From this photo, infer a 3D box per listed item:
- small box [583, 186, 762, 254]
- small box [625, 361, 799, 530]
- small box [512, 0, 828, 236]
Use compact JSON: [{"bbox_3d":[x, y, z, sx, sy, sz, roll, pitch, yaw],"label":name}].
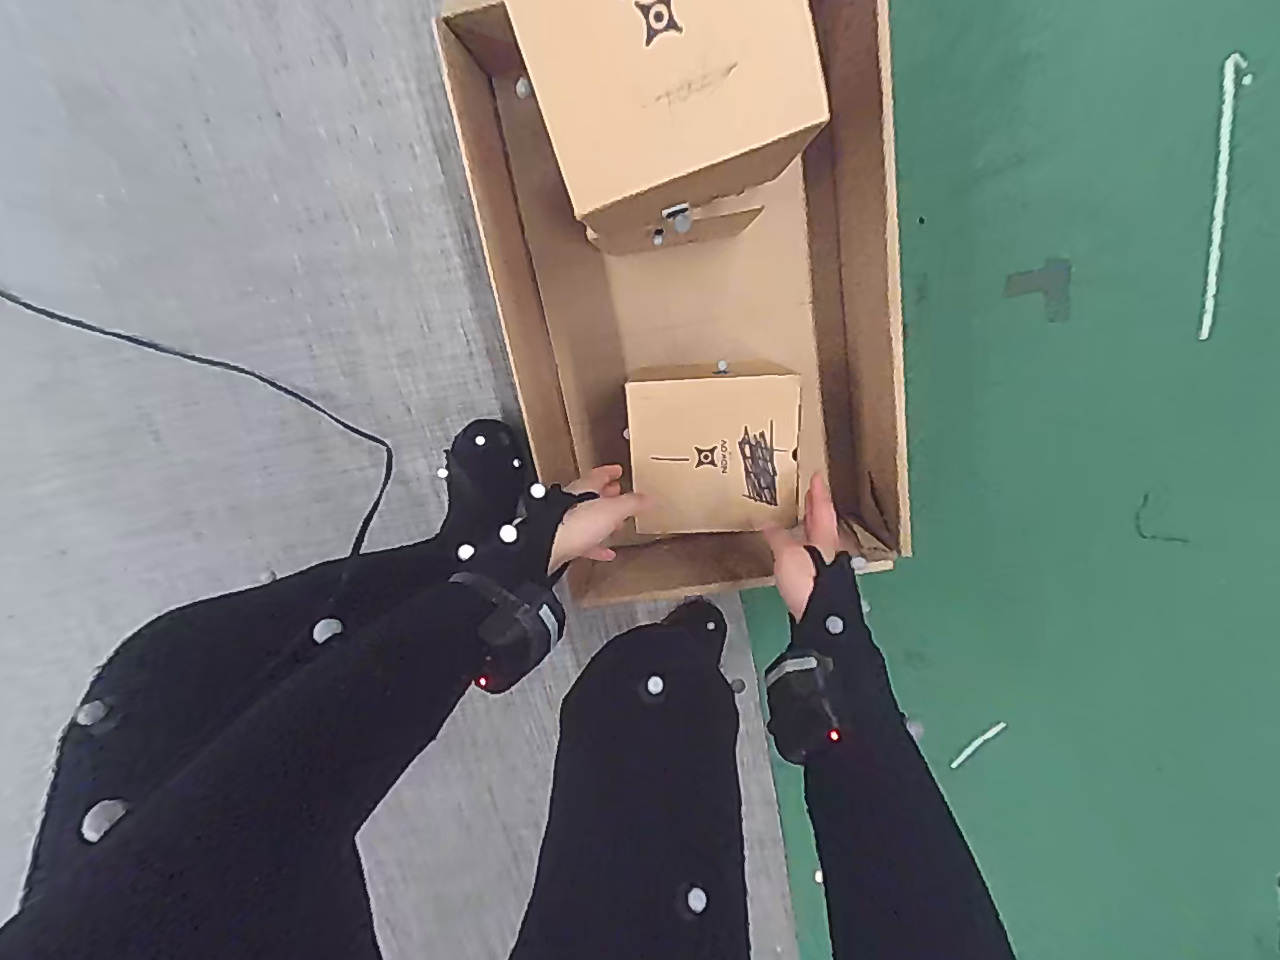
[{"bbox_3d":[0.023,-0.342,0.548,0.168,0.176,0.179,-7,106,5],"label":"small box"},{"bbox_3d":[0.078,-0.049,0.637,0.179,0.176,0.168,-1,106,4],"label":"small box"},{"bbox_3d":[0.015,-0.297,0.390,0.168,0.176,0.179,-17,108,9],"label":"small box"}]
